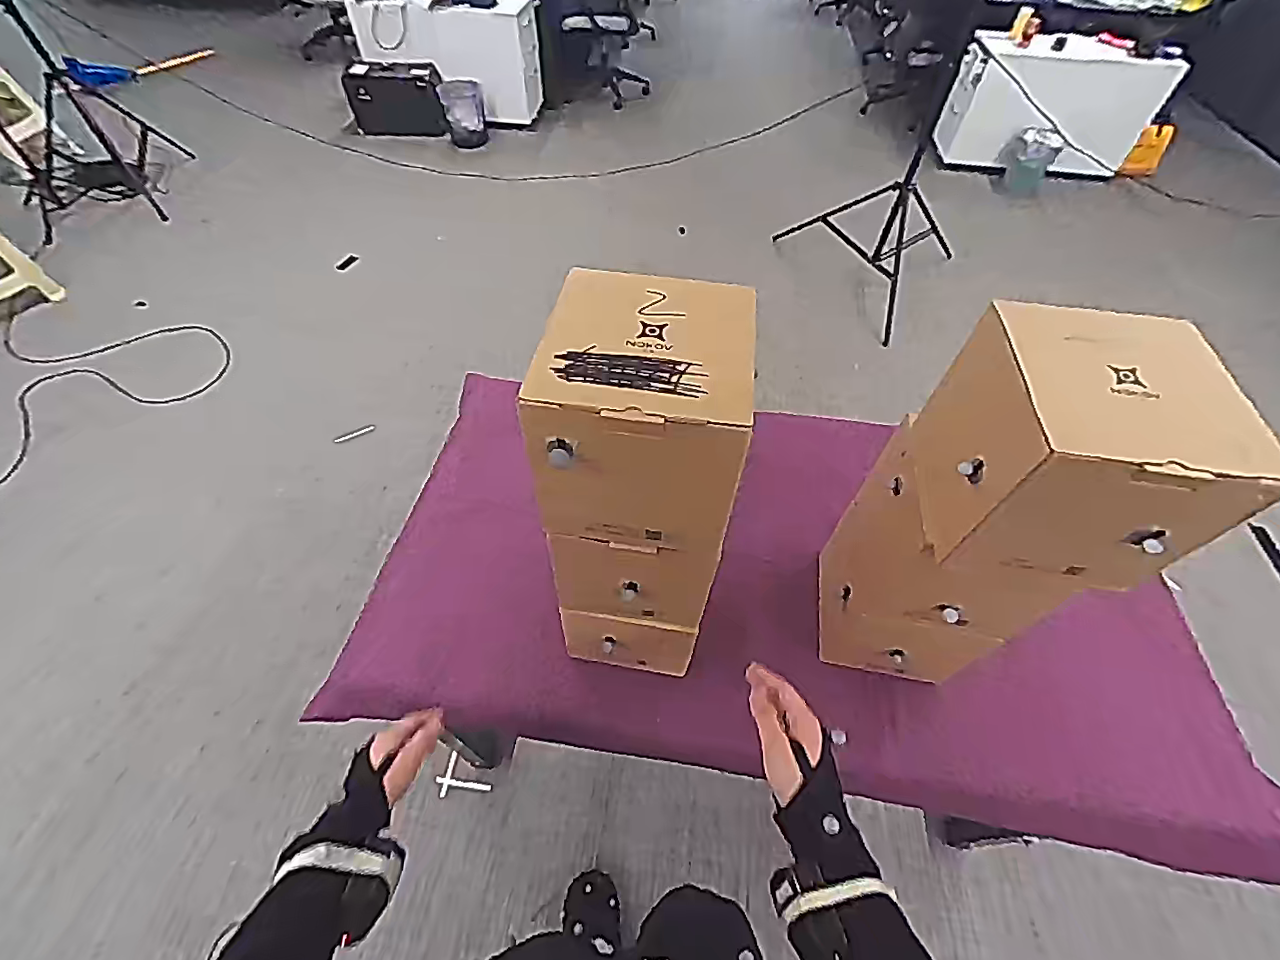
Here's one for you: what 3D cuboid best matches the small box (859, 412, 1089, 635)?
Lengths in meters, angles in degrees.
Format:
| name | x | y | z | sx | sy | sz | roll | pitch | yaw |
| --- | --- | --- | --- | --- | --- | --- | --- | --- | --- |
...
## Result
| name | x | y | z | sx | sy | sz | roll | pitch | yaw |
| --- | --- | --- | --- | --- | --- | --- | --- | --- | --- |
| small box | 0.361 | 0.052 | 0.618 | 0.168 | 0.176 | 0.179 | 10 | 54 | 5 |

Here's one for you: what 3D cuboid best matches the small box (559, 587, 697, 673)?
| name | x | y | z | sx | sy | sz | roll | pitch | yaw |
| --- | --- | --- | --- | --- | --- | --- | --- | --- | --- |
| small box | -0.003 | 0.145 | 0.740 | 0.168 | 0.176 | 0.179 | 9 | 52 | 4 |

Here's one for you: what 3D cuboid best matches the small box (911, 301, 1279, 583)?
| name | x | y | z | sx | sy | sz | roll | pitch | yaw |
| --- | --- | --- | --- | --- | --- | --- | --- | --- | --- |
| small box | 0.365 | -0.028 | 0.475 | 0.168 | 0.176 | 0.179 | 8 | 53 | 2 |

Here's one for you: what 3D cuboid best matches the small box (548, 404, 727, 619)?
| name | x | y | z | sx | sy | sz | roll | pitch | yaw |
| --- | --- | --- | --- | --- | --- | --- | --- | --- | --- |
| small box | 0.002 | 0.041 | 0.614 | 0.168 | 0.176 | 0.179 | 7 | 53 | 2 |

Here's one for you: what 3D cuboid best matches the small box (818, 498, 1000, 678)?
| name | x | y | z | sx | sy | sz | roll | pitch | yaw |
| --- | --- | --- | --- | --- | --- | --- | --- | --- | --- |
| small box | 0.353 | 0.153 | 0.747 | 0.168 | 0.176 | 0.179 | 10 | 53 | 5 |
